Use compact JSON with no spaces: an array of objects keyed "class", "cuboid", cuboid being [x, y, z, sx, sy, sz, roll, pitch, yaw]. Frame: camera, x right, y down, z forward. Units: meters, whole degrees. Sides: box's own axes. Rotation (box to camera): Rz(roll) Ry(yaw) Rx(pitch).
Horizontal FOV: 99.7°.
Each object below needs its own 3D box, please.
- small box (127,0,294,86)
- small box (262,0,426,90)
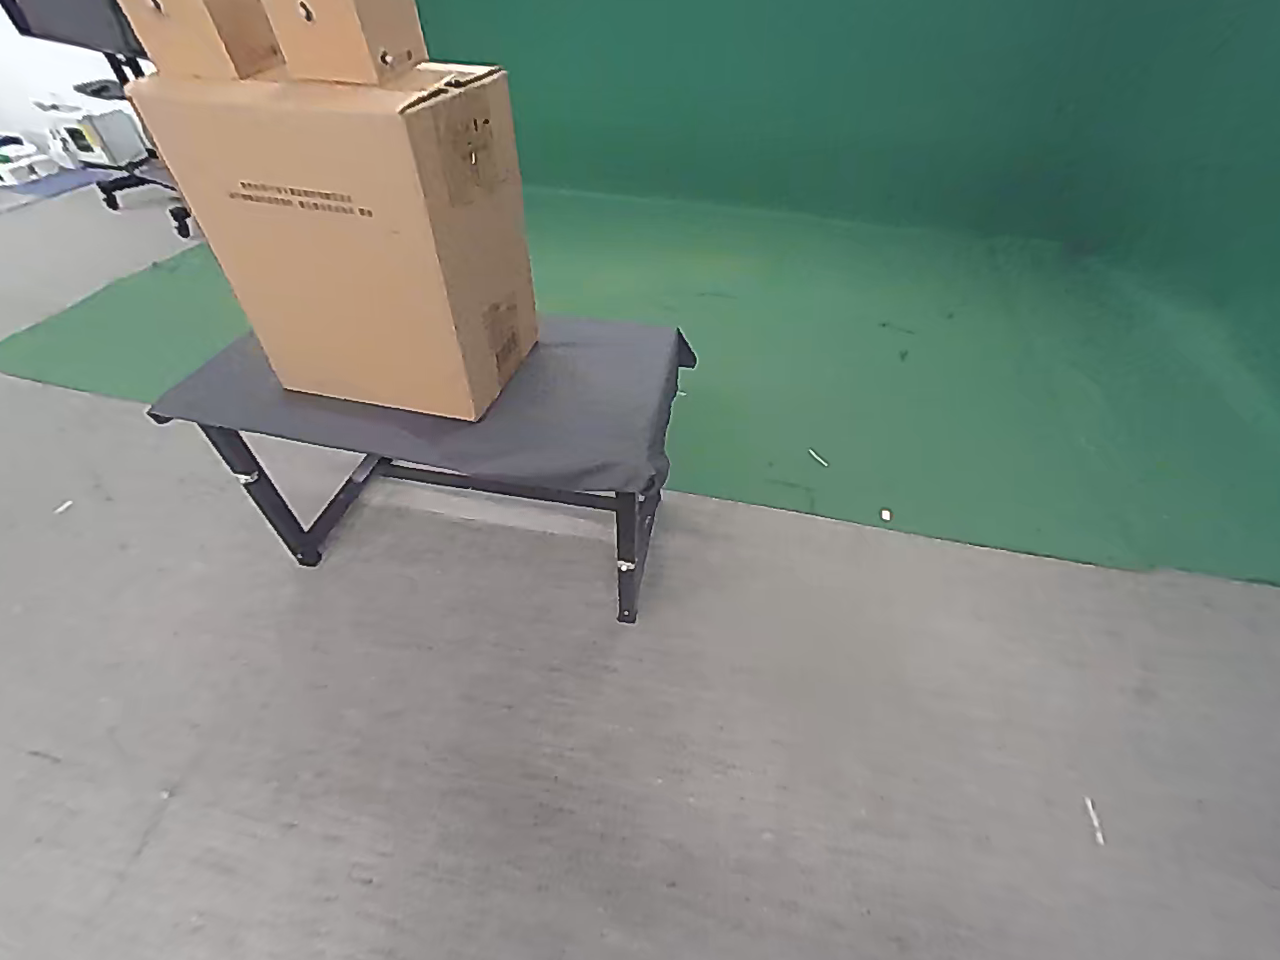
[{"class":"small box","cuboid":[-0.751,-0.812,0.945,0.179,0.176,0.168,10,51,10]},{"class":"small box","cuboid":[-0.496,-0.784,0.917,0.179,0.176,0.168,11,51,10]}]
